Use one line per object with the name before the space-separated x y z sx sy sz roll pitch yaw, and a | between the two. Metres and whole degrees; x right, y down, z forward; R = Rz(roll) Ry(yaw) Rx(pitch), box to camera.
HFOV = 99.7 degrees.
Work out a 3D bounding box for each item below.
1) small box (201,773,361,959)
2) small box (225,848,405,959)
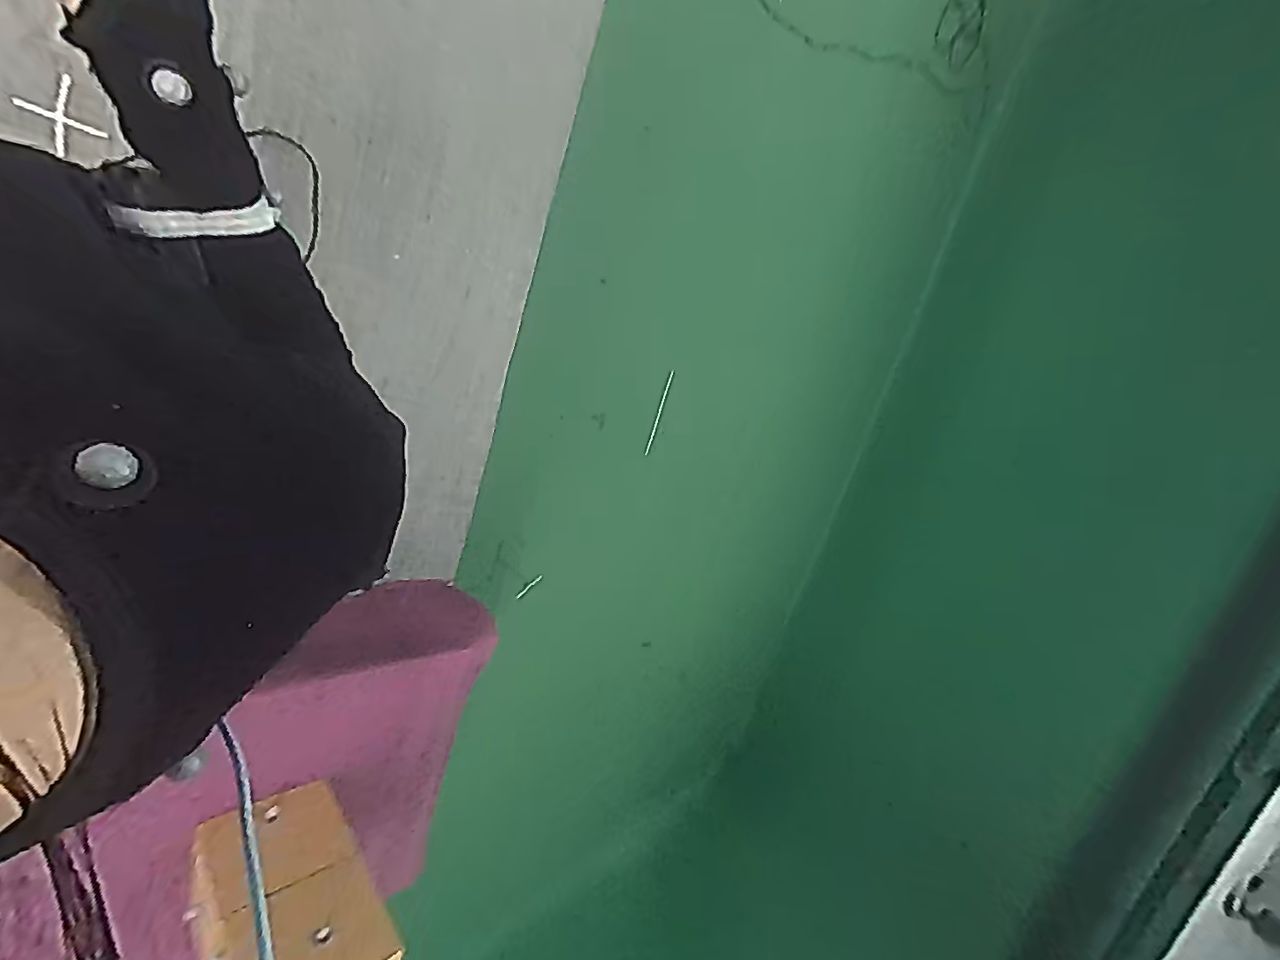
small box | -0.570 0.612 0.854 0.179 0.176 0.168 -1 112 -47
small box | -0.458 0.672 0.749 0.179 0.176 0.168 -1 112 -48
